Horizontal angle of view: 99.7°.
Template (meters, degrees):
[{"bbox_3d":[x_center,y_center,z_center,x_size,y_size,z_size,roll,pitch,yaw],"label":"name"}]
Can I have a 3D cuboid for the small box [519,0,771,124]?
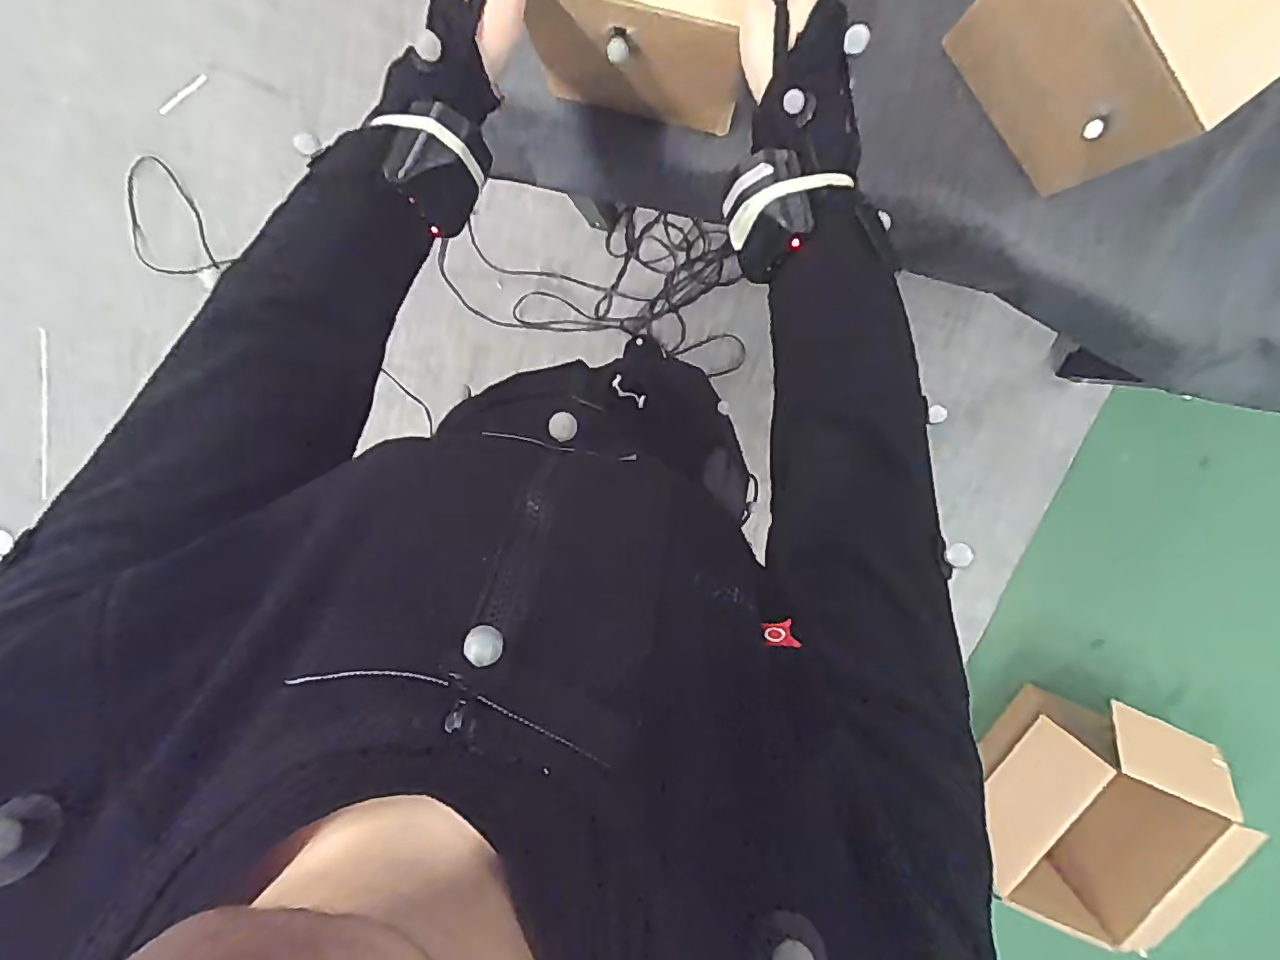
[{"bbox_3d":[0.018,-0.410,0.419,0.179,0.176,0.168,13,102,1],"label":"small box"}]
